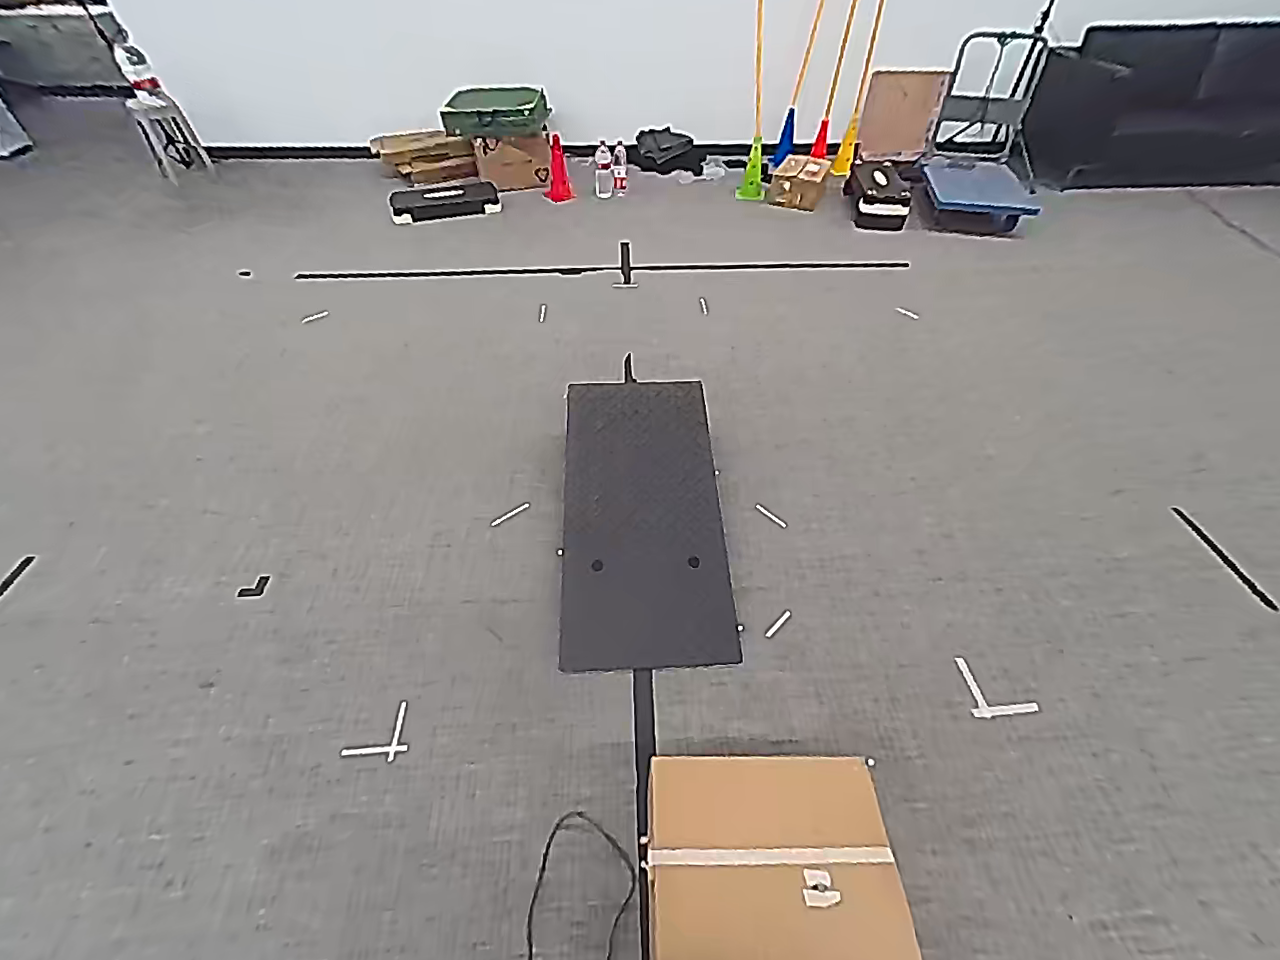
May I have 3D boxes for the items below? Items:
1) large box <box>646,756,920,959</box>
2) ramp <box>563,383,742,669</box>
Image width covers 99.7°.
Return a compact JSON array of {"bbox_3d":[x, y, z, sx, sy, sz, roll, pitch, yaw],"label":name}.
[{"bbox_3d":[0.220,0.734,1.011,0.408,0.320,0.320,1,47,-1],"label":"large box"},{"bbox_3d":[0.014,0.076,1.709,0.509,0.206,0.991,-2,47,-4],"label":"ramp"}]
